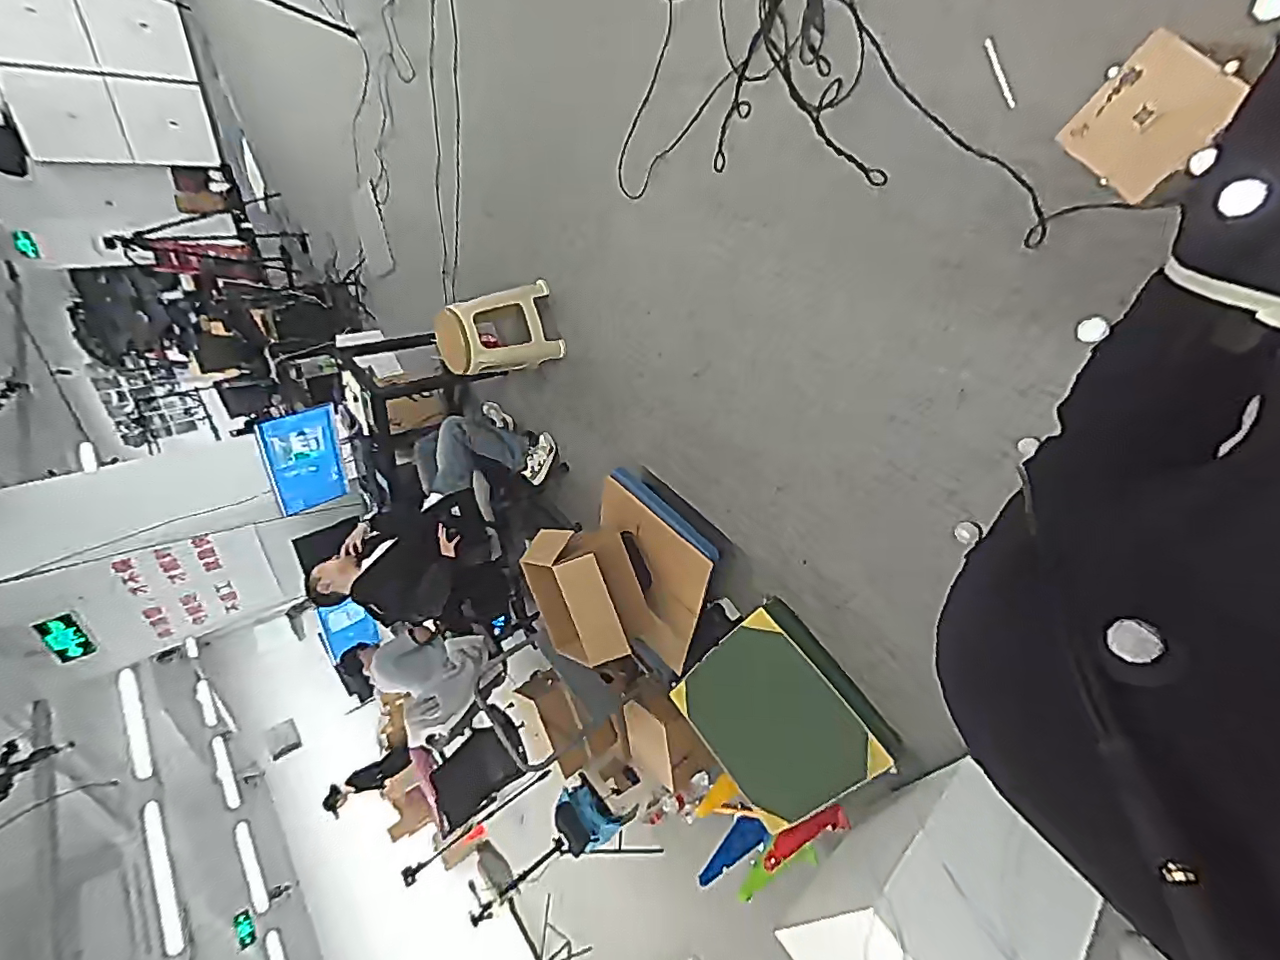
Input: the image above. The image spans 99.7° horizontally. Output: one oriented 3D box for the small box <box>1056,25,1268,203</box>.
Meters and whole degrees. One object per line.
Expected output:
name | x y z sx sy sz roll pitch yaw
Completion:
small box | 0.826 -0.572 0.858 0.179 0.176 0.168 56 143 16
